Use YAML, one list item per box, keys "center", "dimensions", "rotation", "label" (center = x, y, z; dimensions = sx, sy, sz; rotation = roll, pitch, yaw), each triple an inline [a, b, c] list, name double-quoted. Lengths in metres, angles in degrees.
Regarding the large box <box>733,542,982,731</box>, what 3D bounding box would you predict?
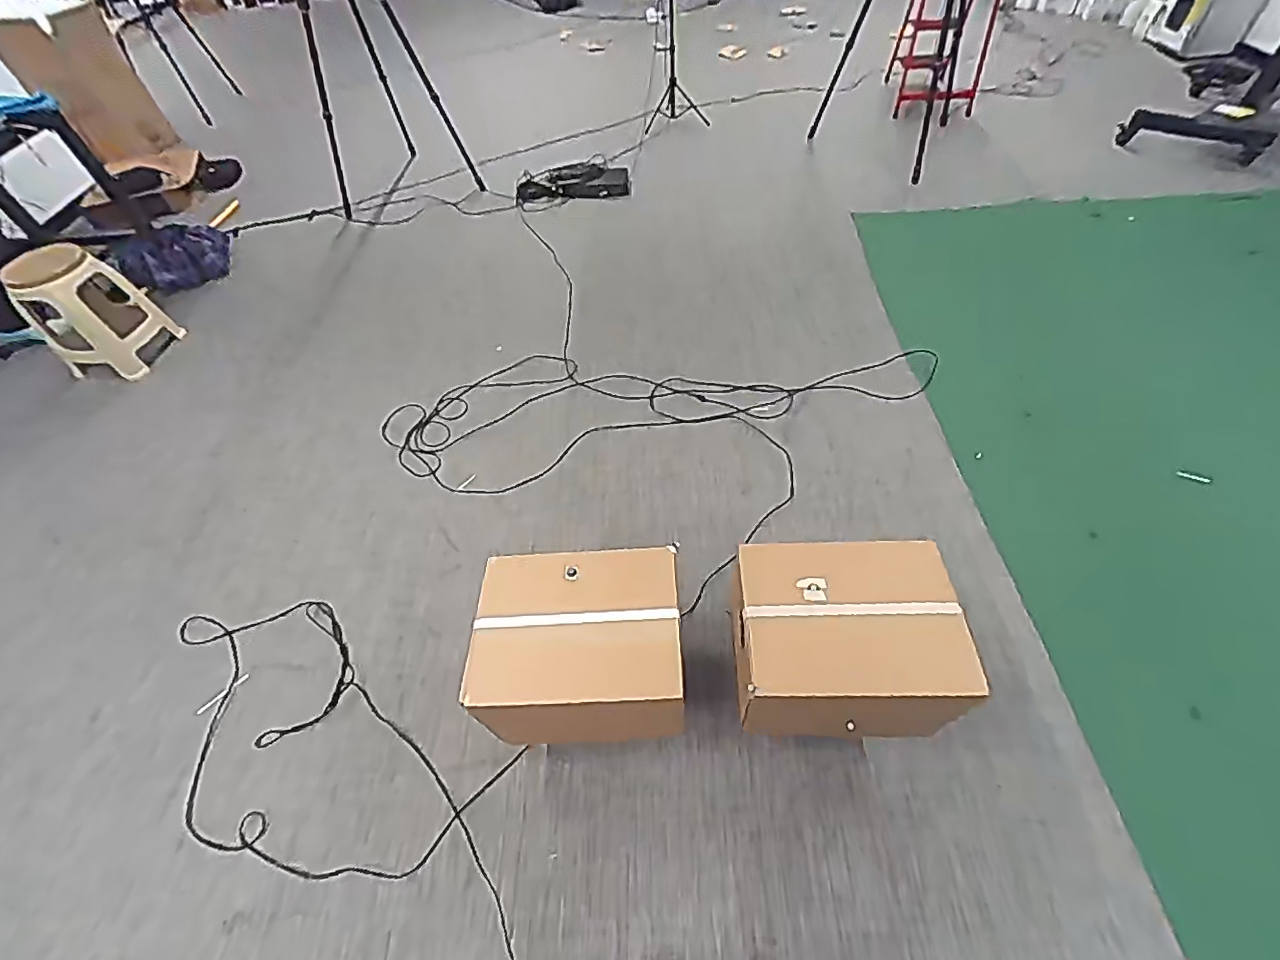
- center: [0.421, 0.348, 1.168]
  dimensions: [0.408, 0.320, 0.320]
  rotation: [-2, 52, 5]
  label: "large box"
